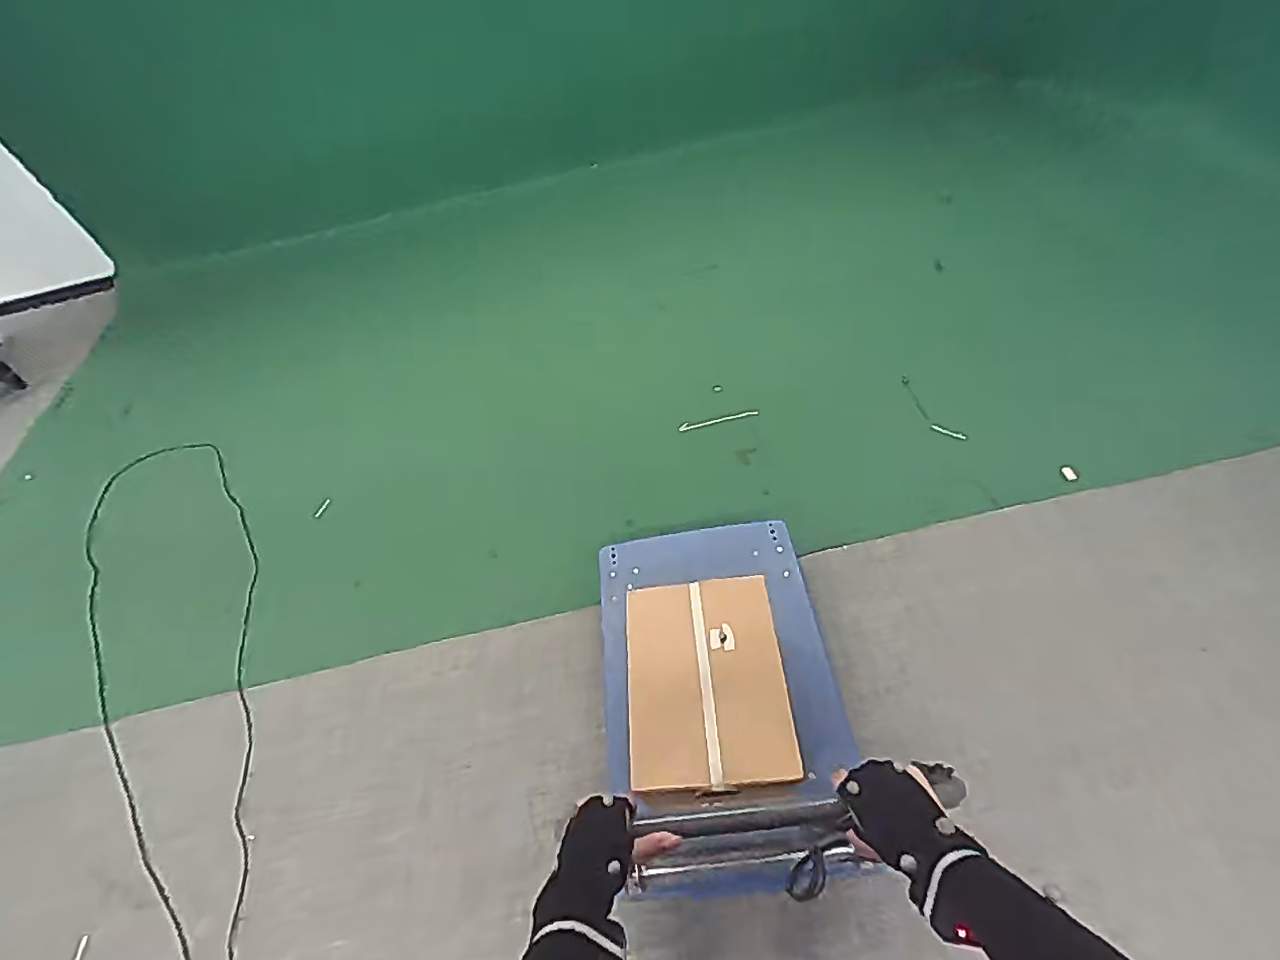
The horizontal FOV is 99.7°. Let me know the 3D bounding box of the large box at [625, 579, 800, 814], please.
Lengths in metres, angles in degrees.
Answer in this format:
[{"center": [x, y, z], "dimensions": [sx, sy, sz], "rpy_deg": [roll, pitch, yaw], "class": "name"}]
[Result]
[{"center": [0.150, 0.486, 1.210], "dimensions": [0.320, 0.320, 0.408], "rpy_deg": [-7, 51, 5], "class": "large box"}]
